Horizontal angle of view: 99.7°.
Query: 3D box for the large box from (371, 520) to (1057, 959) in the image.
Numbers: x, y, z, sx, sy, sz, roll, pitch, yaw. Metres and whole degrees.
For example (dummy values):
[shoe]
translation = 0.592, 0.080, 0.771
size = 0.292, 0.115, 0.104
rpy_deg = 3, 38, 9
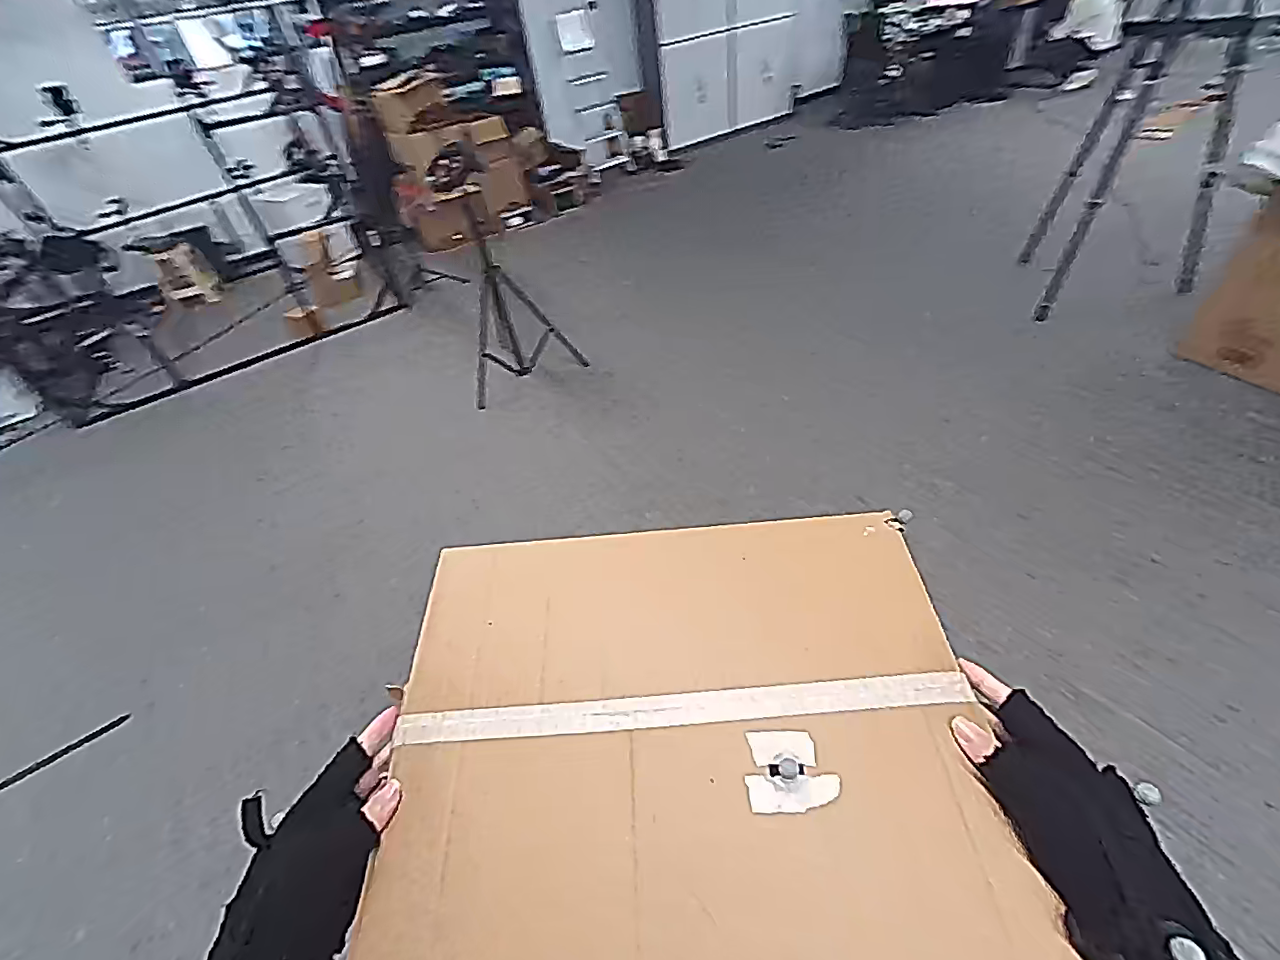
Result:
[large box]
translation = 0.038, 0.268, 0.511
size = 0.408, 0.320, 0.320
rpy_deg = -5, 50, 1
